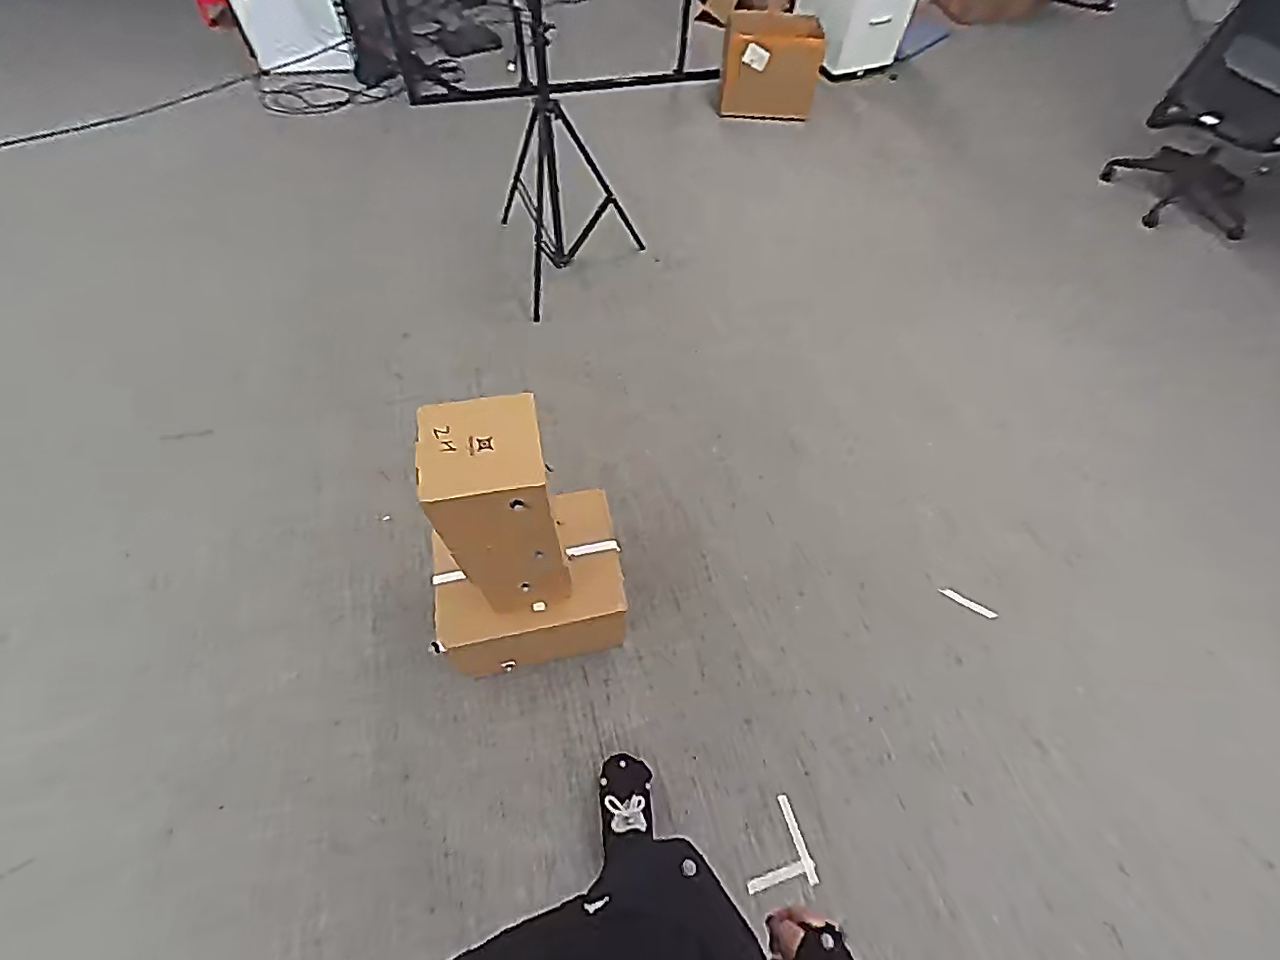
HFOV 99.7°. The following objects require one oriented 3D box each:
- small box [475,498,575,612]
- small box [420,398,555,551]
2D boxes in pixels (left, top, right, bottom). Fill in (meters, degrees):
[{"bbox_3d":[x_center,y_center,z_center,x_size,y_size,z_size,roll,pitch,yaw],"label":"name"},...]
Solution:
[{"bbox_3d":[-0.240,0.161,1.131,0.179,0.176,0.168,-12,62,-10],"label":"small box"},{"bbox_3d":[-0.230,-0.004,0.847,0.179,0.176,0.168,-9,61,-7],"label":"small box"}]
